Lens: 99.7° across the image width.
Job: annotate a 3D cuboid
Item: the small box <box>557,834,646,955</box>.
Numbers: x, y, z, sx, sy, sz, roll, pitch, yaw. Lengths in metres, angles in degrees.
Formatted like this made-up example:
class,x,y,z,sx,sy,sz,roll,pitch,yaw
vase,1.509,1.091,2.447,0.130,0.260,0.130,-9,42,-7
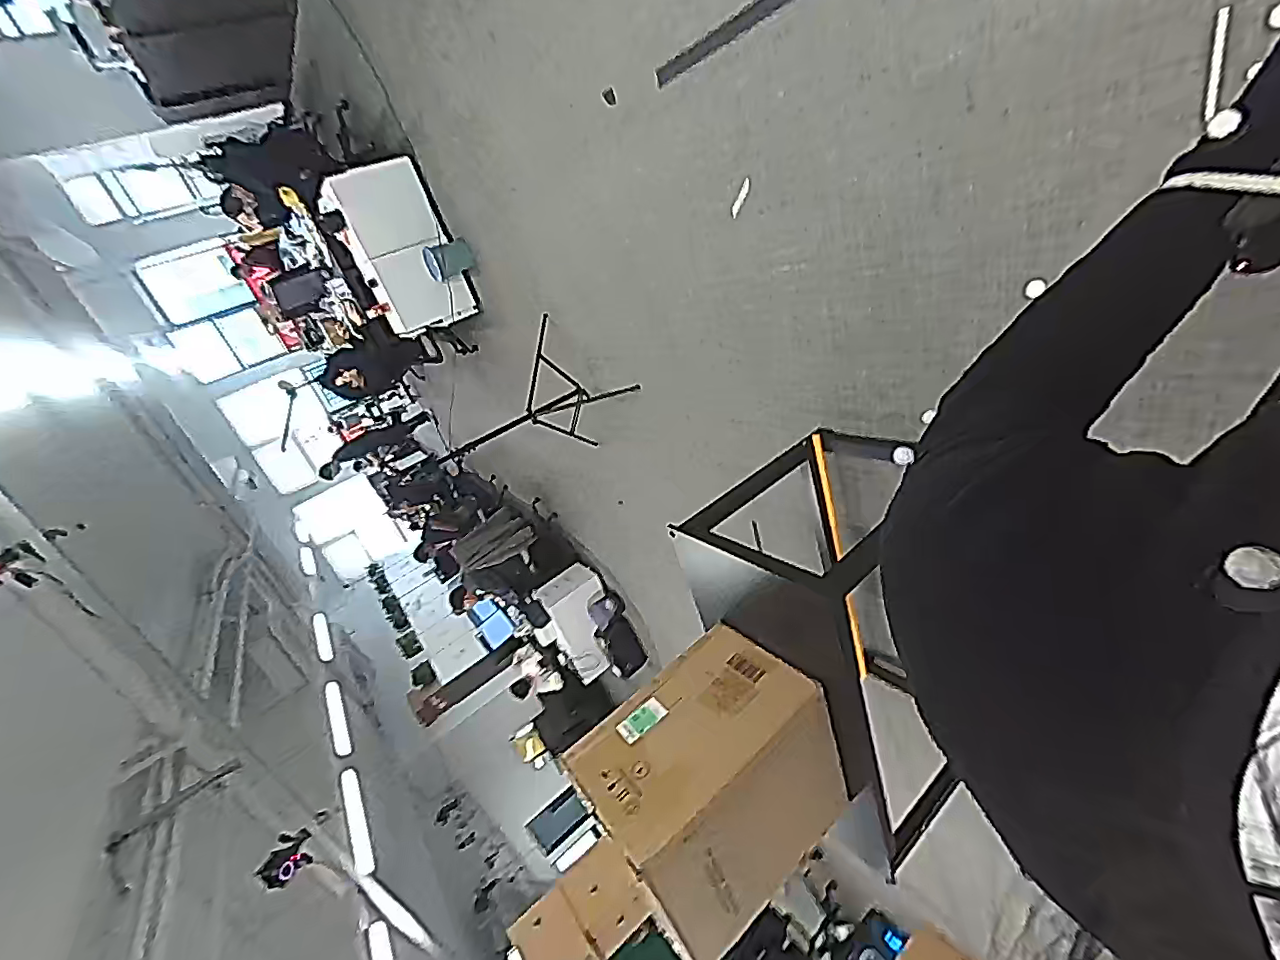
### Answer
class,x,y,z,sx,sy,sz,roll,pitch,yaw
small box,-0.100,1.158,1.523,0.179,0.176,0.168,21,136,54

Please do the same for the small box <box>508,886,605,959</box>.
class,x,y,z,sx,sy,sz,roll,pitch,yaw
small box,-0.220,1.238,1.443,0.179,0.176,0.168,23,139,53
